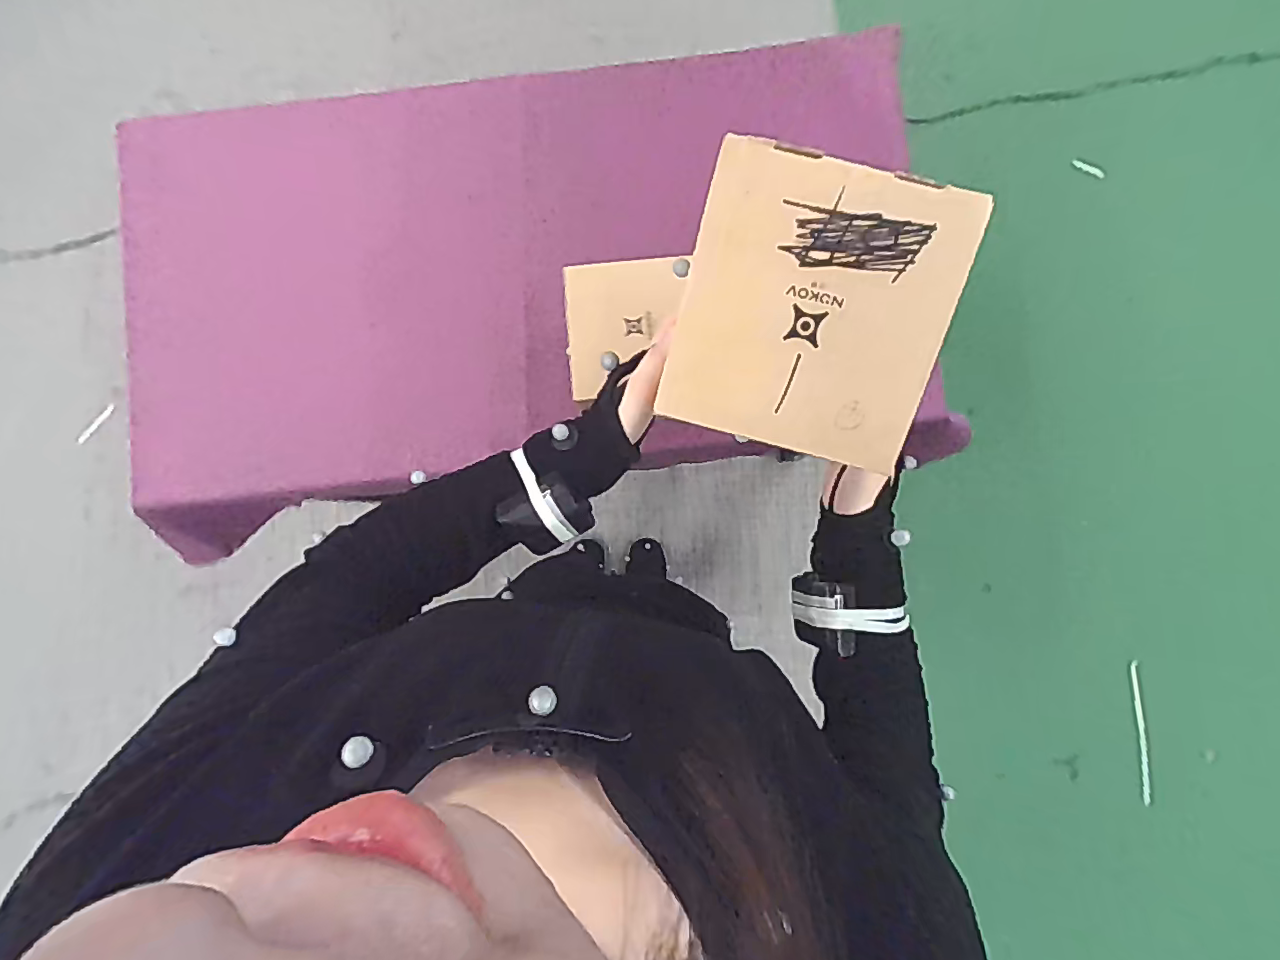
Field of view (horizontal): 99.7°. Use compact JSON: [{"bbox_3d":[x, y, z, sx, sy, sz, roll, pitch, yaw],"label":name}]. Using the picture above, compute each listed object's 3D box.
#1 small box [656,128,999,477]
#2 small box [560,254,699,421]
[{"bbox_3d":[0.118,-0.123,0.414,0.168,0.176,0.179,17,105,3],"label":"small box"},{"bbox_3d":[-0.003,-0.177,0.718,0.179,0.176,0.168,-4,86,1],"label":"small box"}]
